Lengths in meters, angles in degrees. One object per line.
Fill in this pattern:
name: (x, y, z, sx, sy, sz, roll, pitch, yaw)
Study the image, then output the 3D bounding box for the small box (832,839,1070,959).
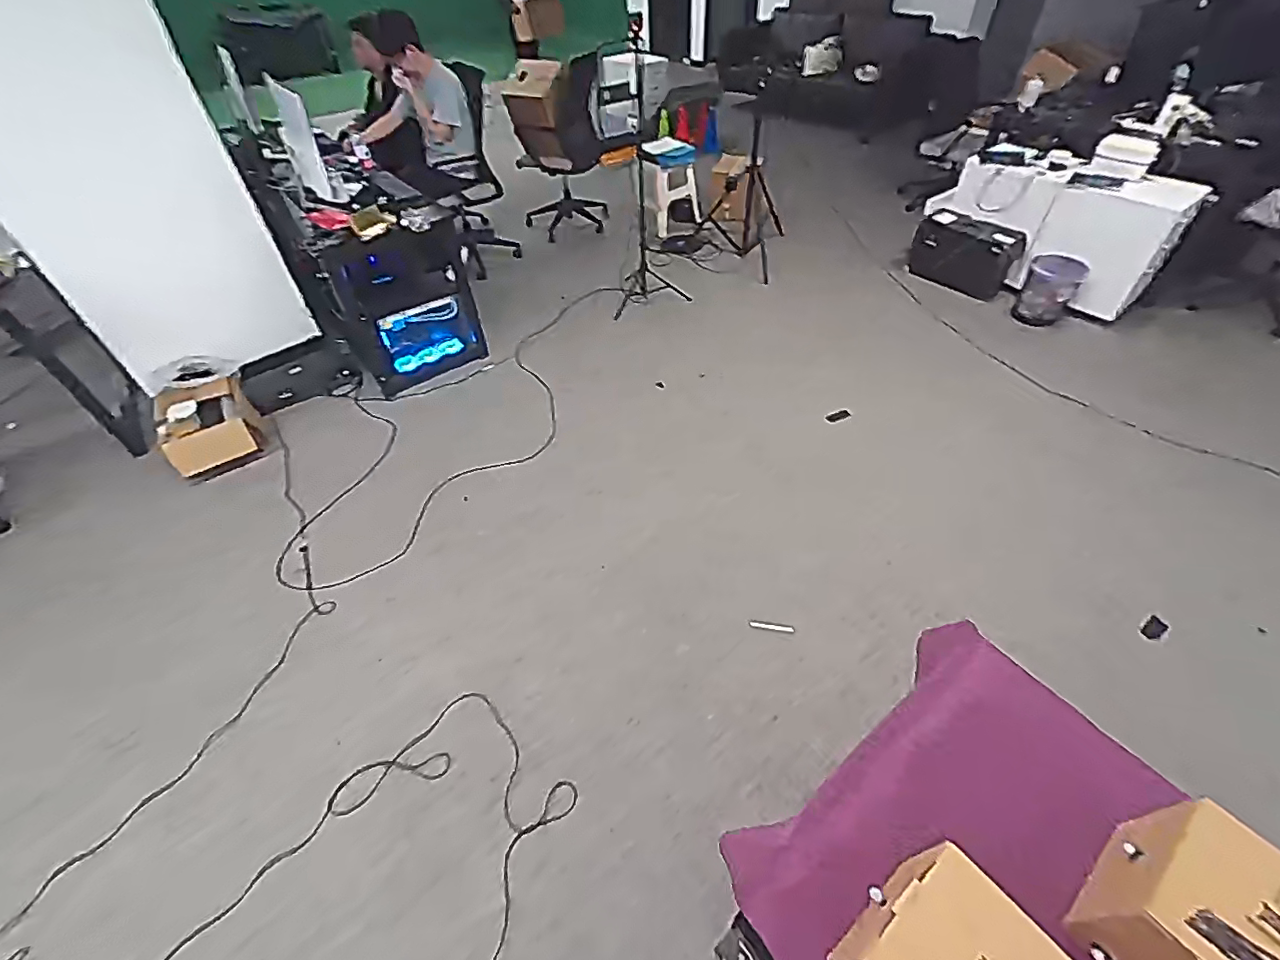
small box: (0.340, 0.547, 0.593, 0.168, 0.176, 0.179, -31, 53, -23)

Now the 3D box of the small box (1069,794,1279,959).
small box: (0.642, 0.508, 0.616, 0.179, 0.176, 0.168, -32, 53, -24)
